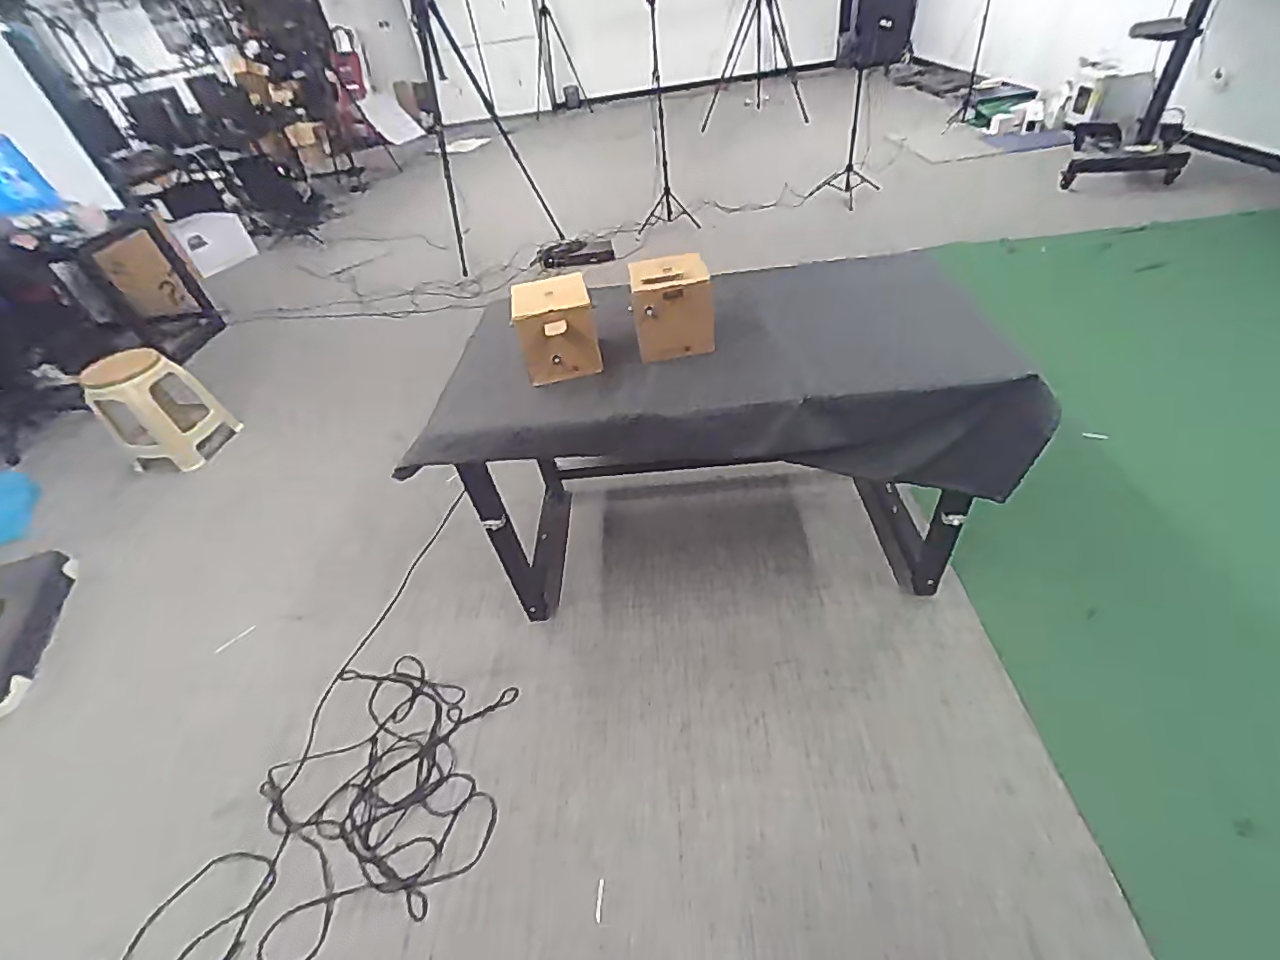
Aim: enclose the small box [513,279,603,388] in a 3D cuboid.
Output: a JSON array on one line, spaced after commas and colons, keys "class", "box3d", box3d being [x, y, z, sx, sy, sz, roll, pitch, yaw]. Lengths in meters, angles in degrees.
[{"class": "small box", "box3d": [-0.186, -0.333, 1.227, 0.168, 0.176, 0.179, -12, 42, -4]}]
